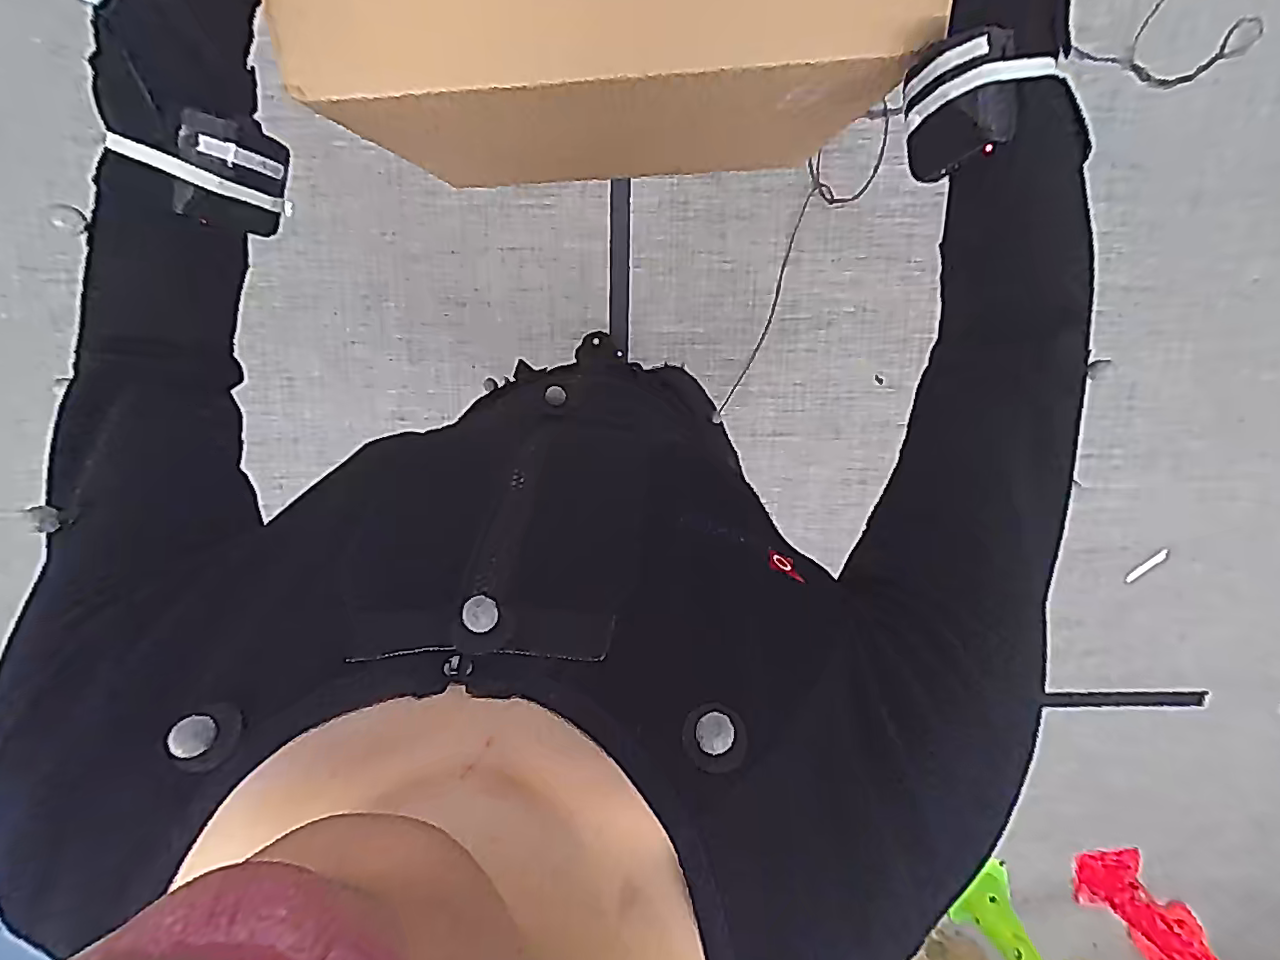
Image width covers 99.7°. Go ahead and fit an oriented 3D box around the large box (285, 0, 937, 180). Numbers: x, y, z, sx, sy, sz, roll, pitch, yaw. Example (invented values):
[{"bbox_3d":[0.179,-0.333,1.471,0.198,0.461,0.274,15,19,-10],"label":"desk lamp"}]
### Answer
[{"bbox_3d":[-0.028,-0.455,0.430,0.408,0.320,0.320,-3,110,1],"label":"large box"}]
